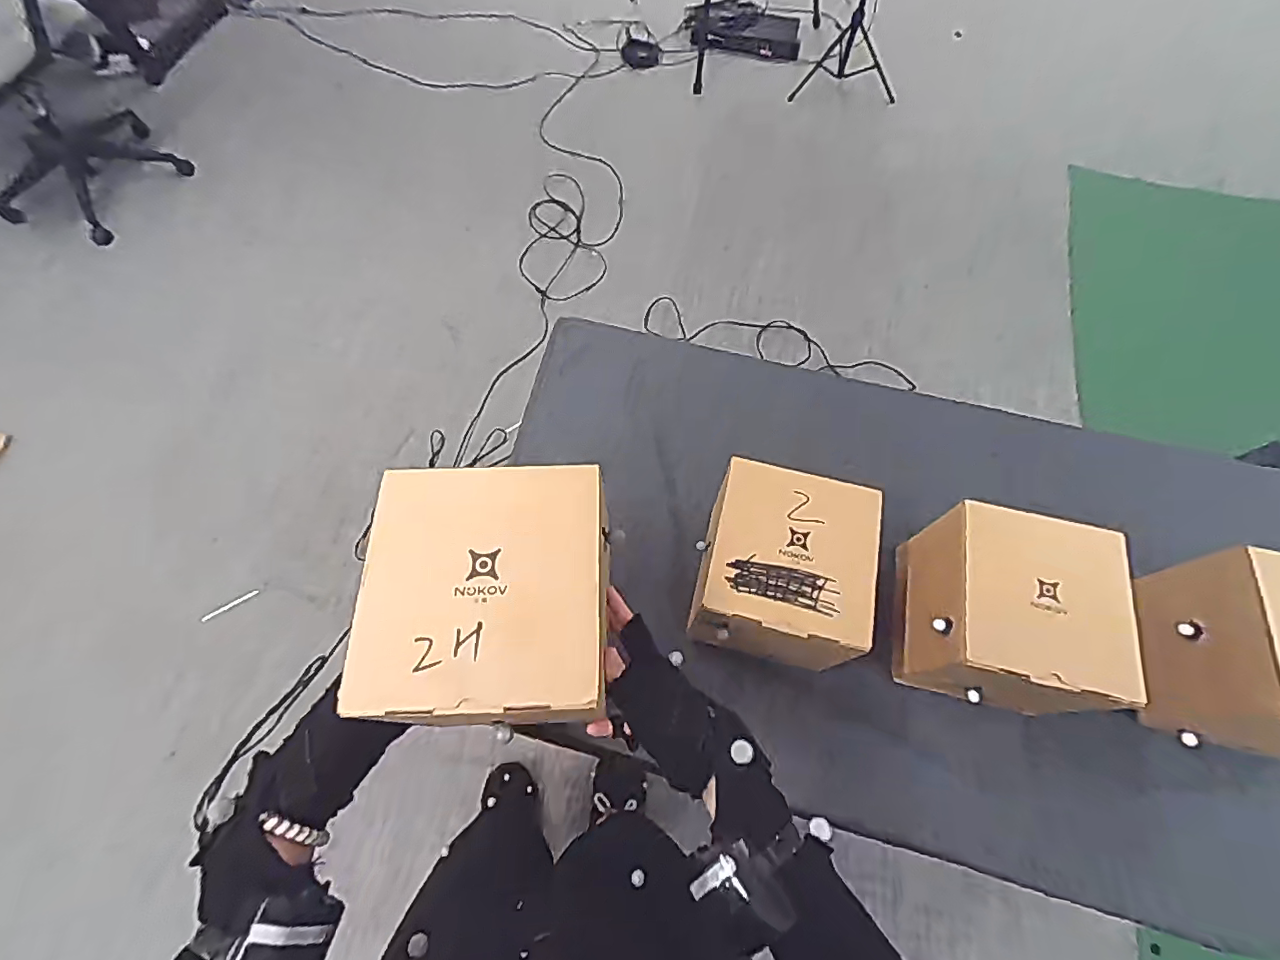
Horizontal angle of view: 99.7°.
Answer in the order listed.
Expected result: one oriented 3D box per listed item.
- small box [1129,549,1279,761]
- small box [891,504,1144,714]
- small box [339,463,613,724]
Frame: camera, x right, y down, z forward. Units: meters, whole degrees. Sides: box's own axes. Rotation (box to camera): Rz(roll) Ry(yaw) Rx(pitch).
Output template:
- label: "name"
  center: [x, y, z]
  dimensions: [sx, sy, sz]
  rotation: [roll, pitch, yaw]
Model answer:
- label: "small box"
  center: [0.680, 0.199, 0.588]
  dimensions: [0.168, 0.176, 0.179]
  rotation: [12, 64, 5]
- label: "small box"
  center: [0.402, 0.152, 0.610]
  dimensions: [0.168, 0.176, 0.179]
  rotation: [12, 66, 5]
- label: "small box"
  center: [-0.109, 0.101, 0.449]
  dimensions: [0.168, 0.176, 0.179]
  rotation: [-1, 63, 0]
